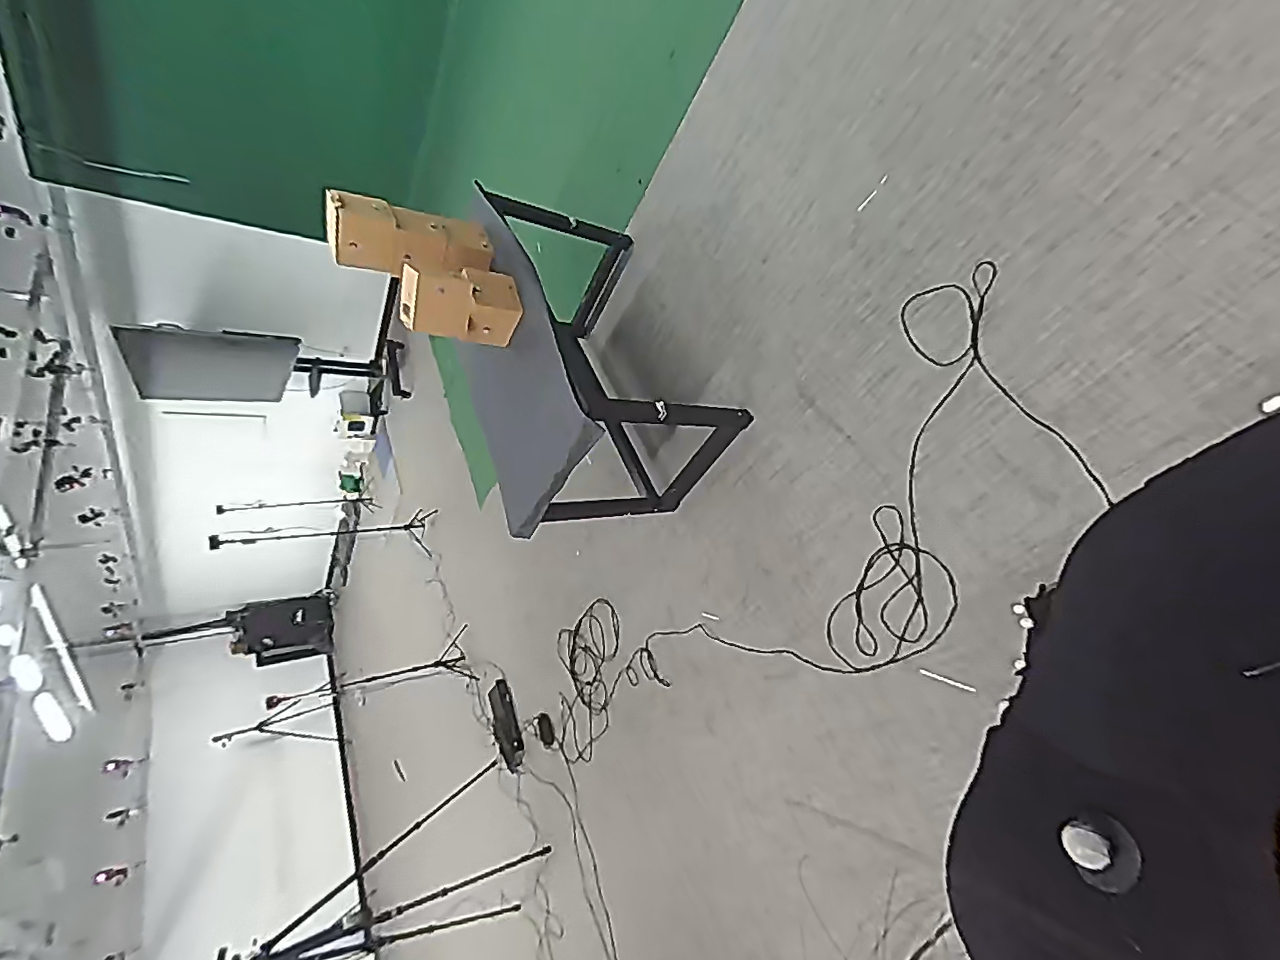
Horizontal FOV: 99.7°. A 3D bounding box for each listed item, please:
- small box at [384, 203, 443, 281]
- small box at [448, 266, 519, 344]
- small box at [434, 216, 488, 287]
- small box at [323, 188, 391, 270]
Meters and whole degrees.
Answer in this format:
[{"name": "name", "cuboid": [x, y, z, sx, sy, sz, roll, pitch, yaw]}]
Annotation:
[{"name": "small box", "cuboid": [-0.790, -0.811, 1.860, 0.168, 0.176, 0.179, 58, 134, 29]}, {"name": "small box", "cuboid": [-0.519, -0.573, 1.797, 0.179, 0.176, 0.168, -44, 59, 45]}, {"name": "small box", "cuboid": [-0.664, -0.819, 1.962, 0.179, 0.176, 0.168, -55, 53, 41]}, {"name": "small box", "cuboid": [-0.918, -0.808, 1.754, 0.168, 0.176, 0.179, 55, 133, 31]}]
